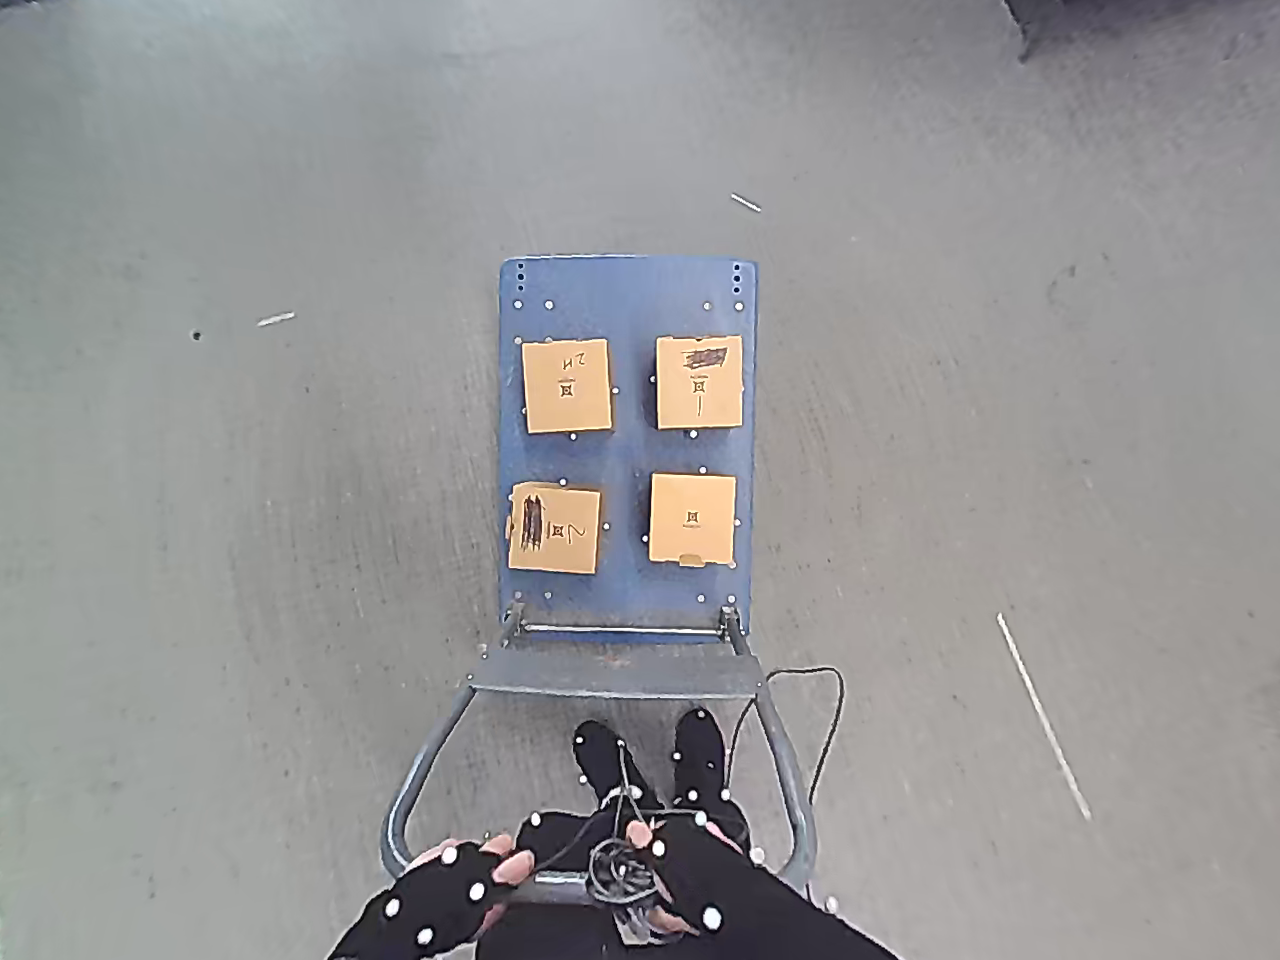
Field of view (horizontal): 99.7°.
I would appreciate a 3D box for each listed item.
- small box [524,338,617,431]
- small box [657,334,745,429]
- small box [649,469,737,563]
[{"bbox_3d":[-0.138,-0.192,1.126,0.168,0.176,0.179,-2,94,1],"label":"small box"},{"bbox_3d":[0.120,-0.196,1.118,0.168,0.176,0.179,0,94,2],"label":"small box"},{"bbox_3d":[0.104,0.068,1.136,0.168,0.176,0.179,3,94,2],"label":"small box"}]
